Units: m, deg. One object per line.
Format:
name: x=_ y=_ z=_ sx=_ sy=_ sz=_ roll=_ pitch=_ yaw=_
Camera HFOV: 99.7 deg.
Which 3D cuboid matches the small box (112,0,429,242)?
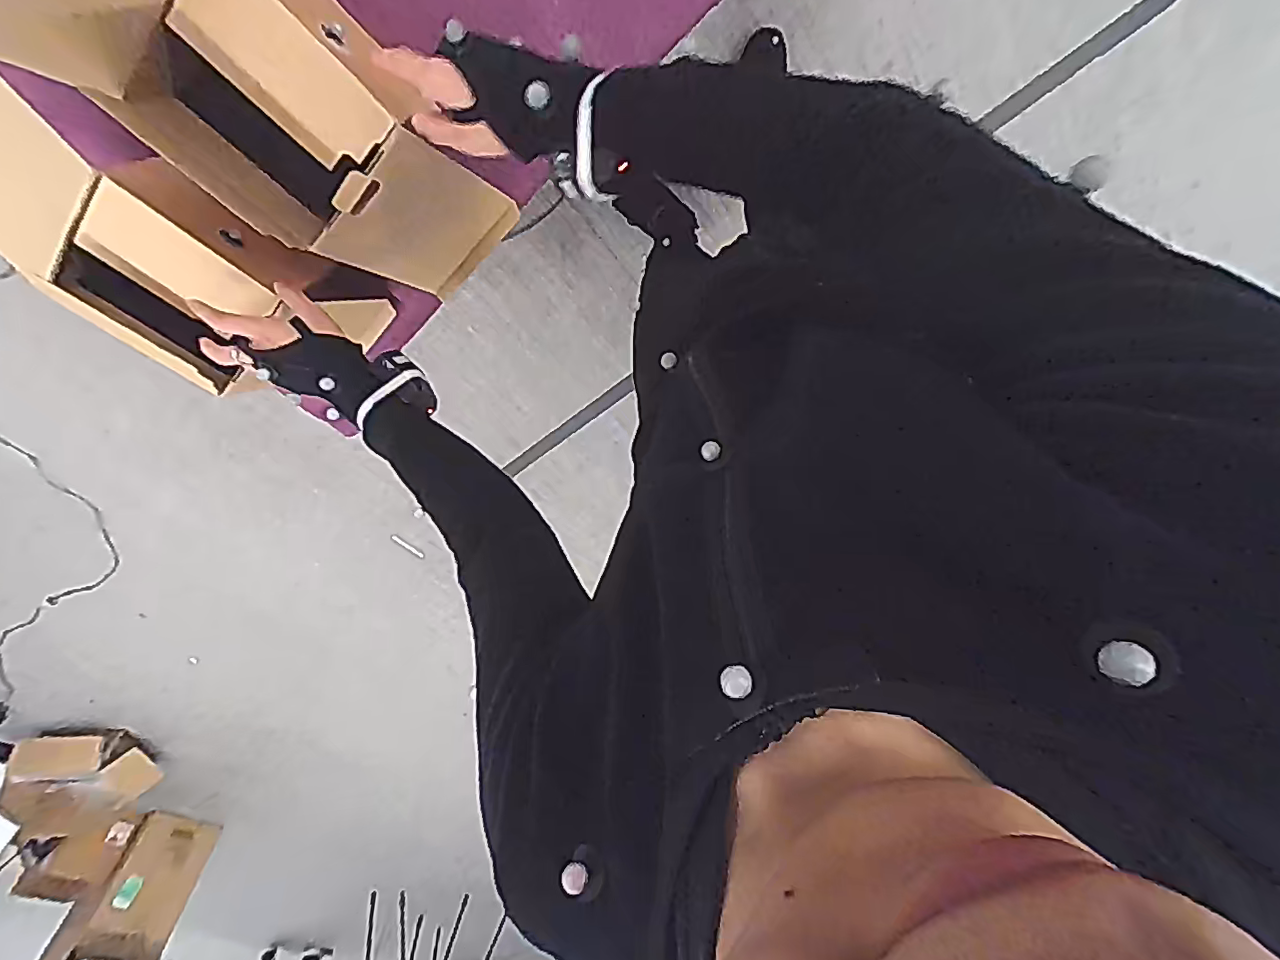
small box: x=-0.342 y=-0.381 z=0.539 sx=0.168 sy=0.176 sz=0.179 roll=-37 pitch=122 yaw=22
